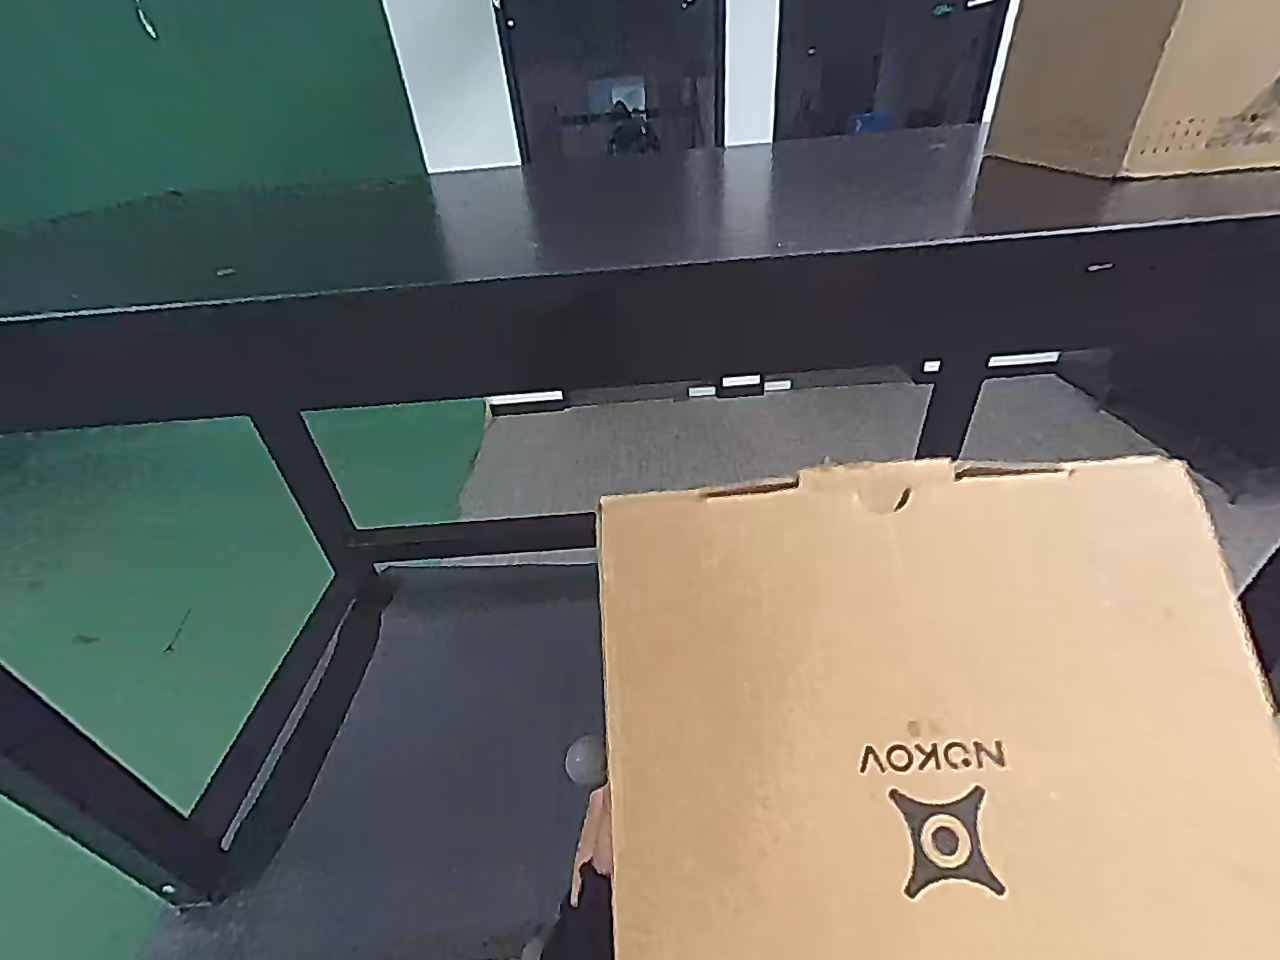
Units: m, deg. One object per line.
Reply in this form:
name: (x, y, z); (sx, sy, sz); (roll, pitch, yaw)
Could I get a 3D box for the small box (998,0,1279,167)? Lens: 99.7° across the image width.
small box: (0.355, -0.294, 0.324); (0.168, 0.176, 0.179); (-2, 35, 7)

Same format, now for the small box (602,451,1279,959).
small box: (0.081, 0.103, 0.209); (0.168, 0.176, 0.179); (-5, 72, 3)
